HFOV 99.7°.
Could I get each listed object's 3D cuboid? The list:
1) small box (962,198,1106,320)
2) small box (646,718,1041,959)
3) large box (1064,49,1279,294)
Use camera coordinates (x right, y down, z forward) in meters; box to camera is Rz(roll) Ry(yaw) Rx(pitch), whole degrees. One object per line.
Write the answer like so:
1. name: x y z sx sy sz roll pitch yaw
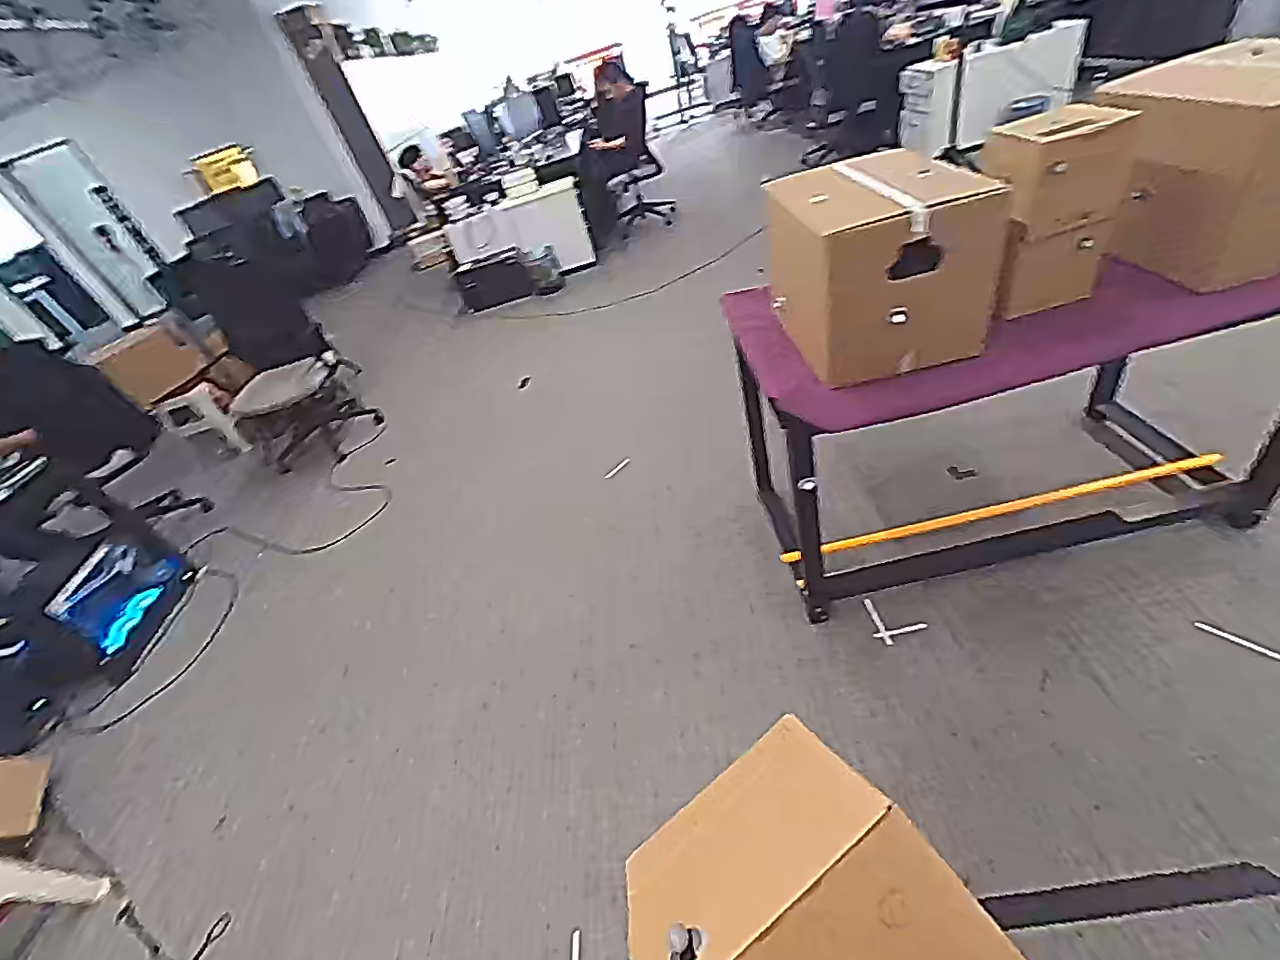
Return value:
1. small box: 0.810 -0.463 1.136 0.179 0.176 0.168 -16 38 5
2. small box: 0.117 0.287 0.340 0.179 0.176 0.168 -39 86 -5
3. large box: 1.142 -0.616 1.068 0.320 0.320 0.408 -15 38 5
